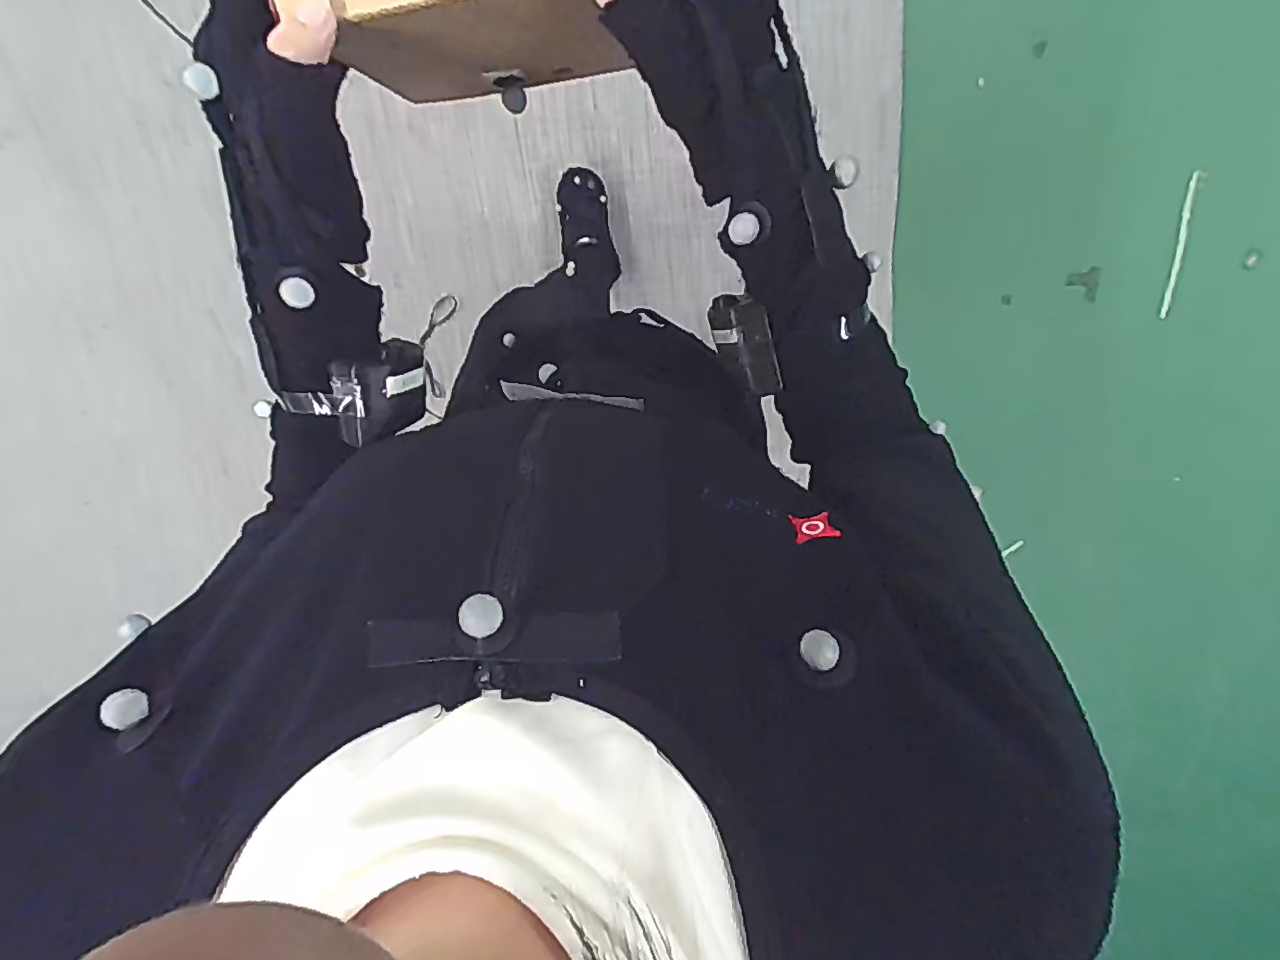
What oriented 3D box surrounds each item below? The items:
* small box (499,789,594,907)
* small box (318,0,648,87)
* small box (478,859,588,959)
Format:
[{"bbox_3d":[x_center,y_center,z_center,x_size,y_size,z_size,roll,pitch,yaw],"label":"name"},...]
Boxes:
[{"bbox_3d":[-0.208,0.863,1.259,0.168,0.176,0.179,-13,111,3],"label":"small box"},{"bbox_3d":[-0.087,-0.325,0.261,0.168,0.176,0.179,-8,115,3],"label":"small box"},{"bbox_3d":[-0.207,0.924,1.107,0.168,0.176,0.179,-12,110,4],"label":"small box"}]
